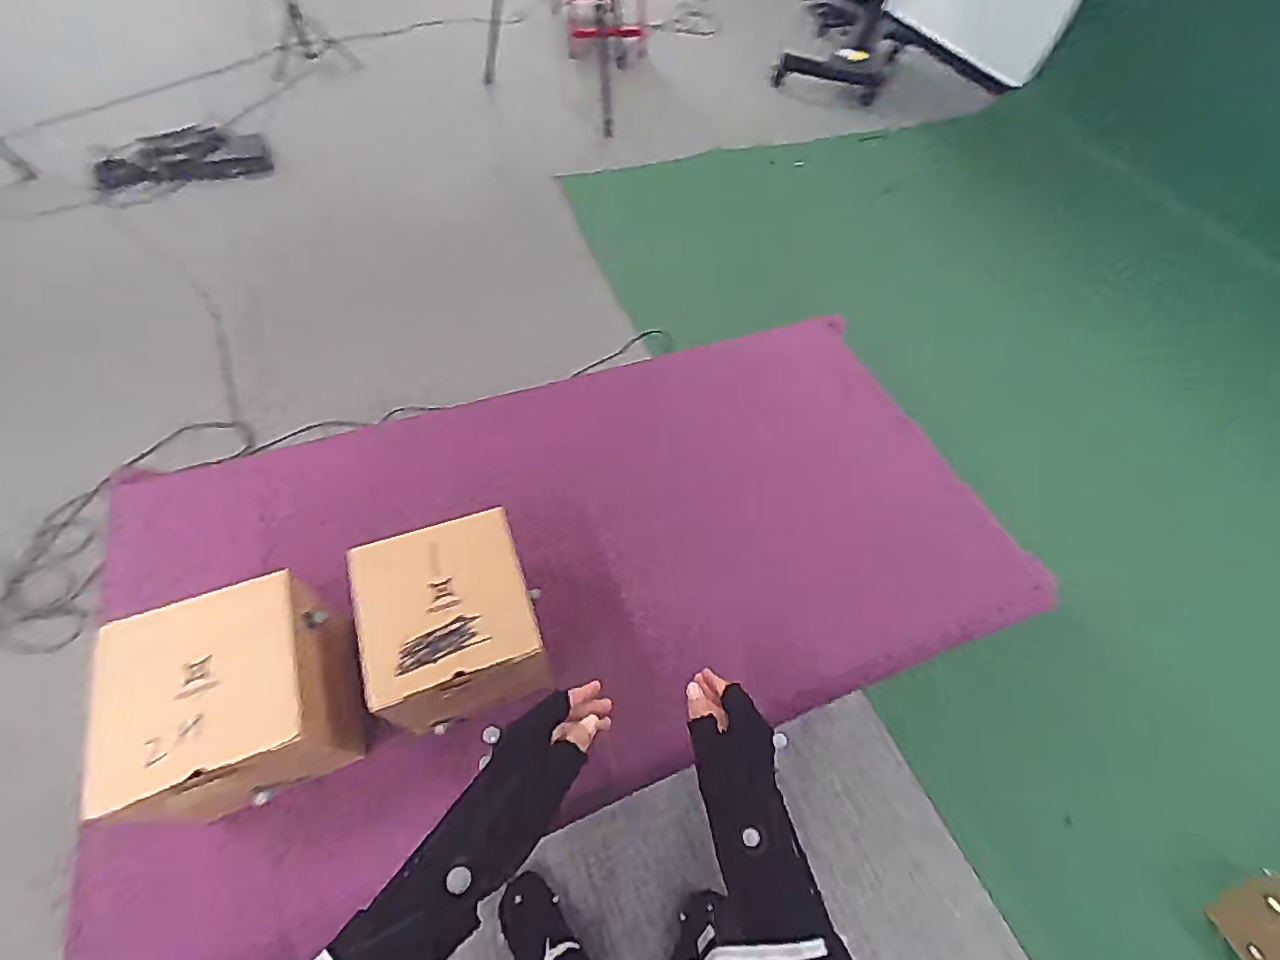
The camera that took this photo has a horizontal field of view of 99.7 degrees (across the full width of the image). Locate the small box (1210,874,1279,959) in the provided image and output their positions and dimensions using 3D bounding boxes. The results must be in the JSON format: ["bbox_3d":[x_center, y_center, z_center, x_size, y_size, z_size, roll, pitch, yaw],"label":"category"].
[{"bbox_3d":[1.391,0.965,1.141,0.179,0.176,0.168,-18,61,-16],"label":"small box"}]

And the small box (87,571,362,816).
[{"bbox_3d":[-0.416,0.228,0.571,0.168,0.176,0.179,-18,61,-16],"label":"small box"}]

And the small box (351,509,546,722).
[{"bbox_3d":[-0.214,0.166,0.633,0.168,0.176,0.179,-16,60,-15],"label":"small box"}]
